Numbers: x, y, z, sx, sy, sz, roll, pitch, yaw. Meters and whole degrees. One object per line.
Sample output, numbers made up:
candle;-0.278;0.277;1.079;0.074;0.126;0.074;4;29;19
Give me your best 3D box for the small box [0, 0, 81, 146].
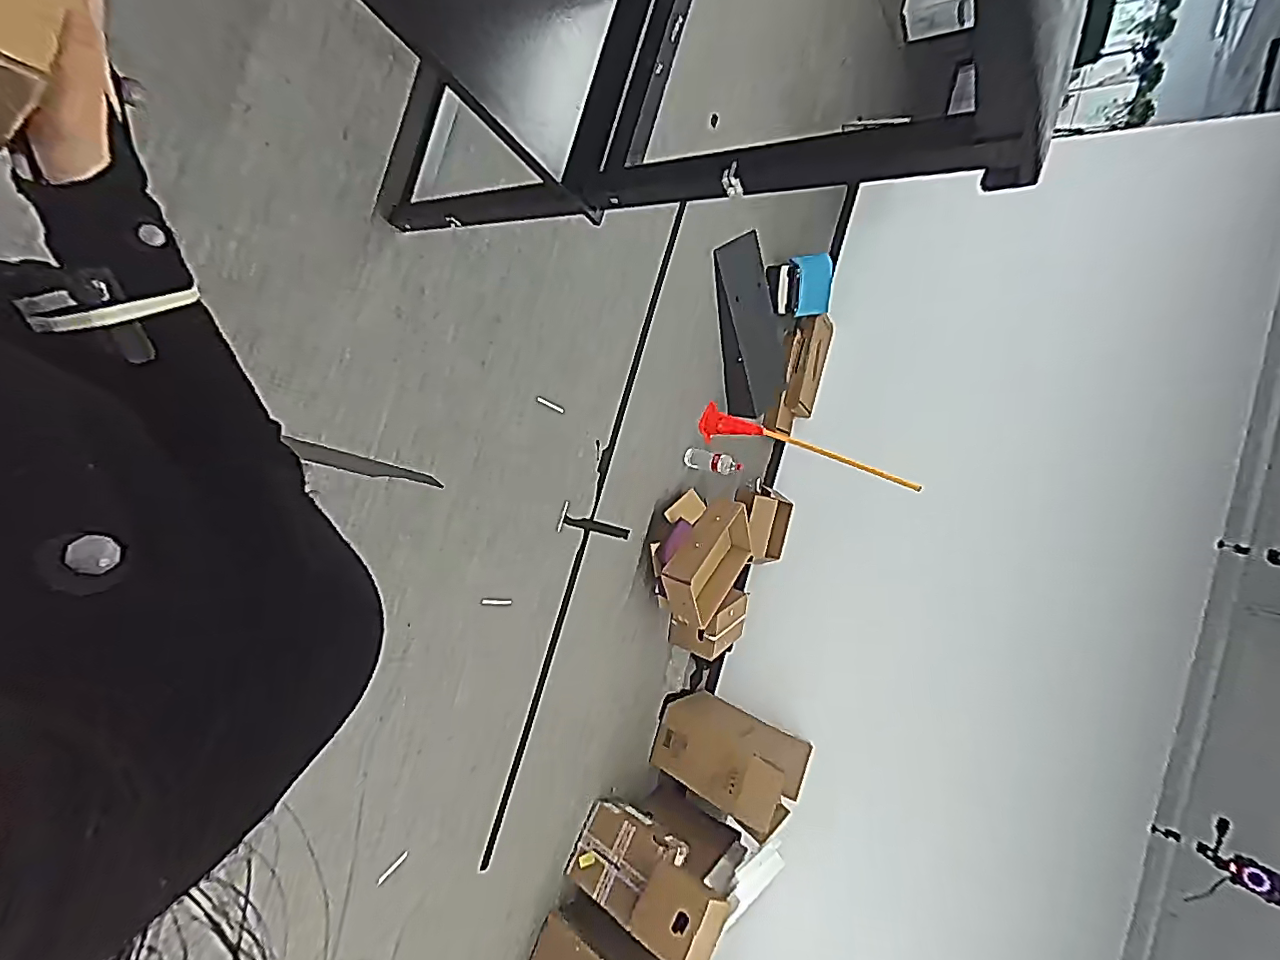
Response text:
small box;-0.317;-0.258;0.192;0.168;0.176;0.179;12;90;-55
